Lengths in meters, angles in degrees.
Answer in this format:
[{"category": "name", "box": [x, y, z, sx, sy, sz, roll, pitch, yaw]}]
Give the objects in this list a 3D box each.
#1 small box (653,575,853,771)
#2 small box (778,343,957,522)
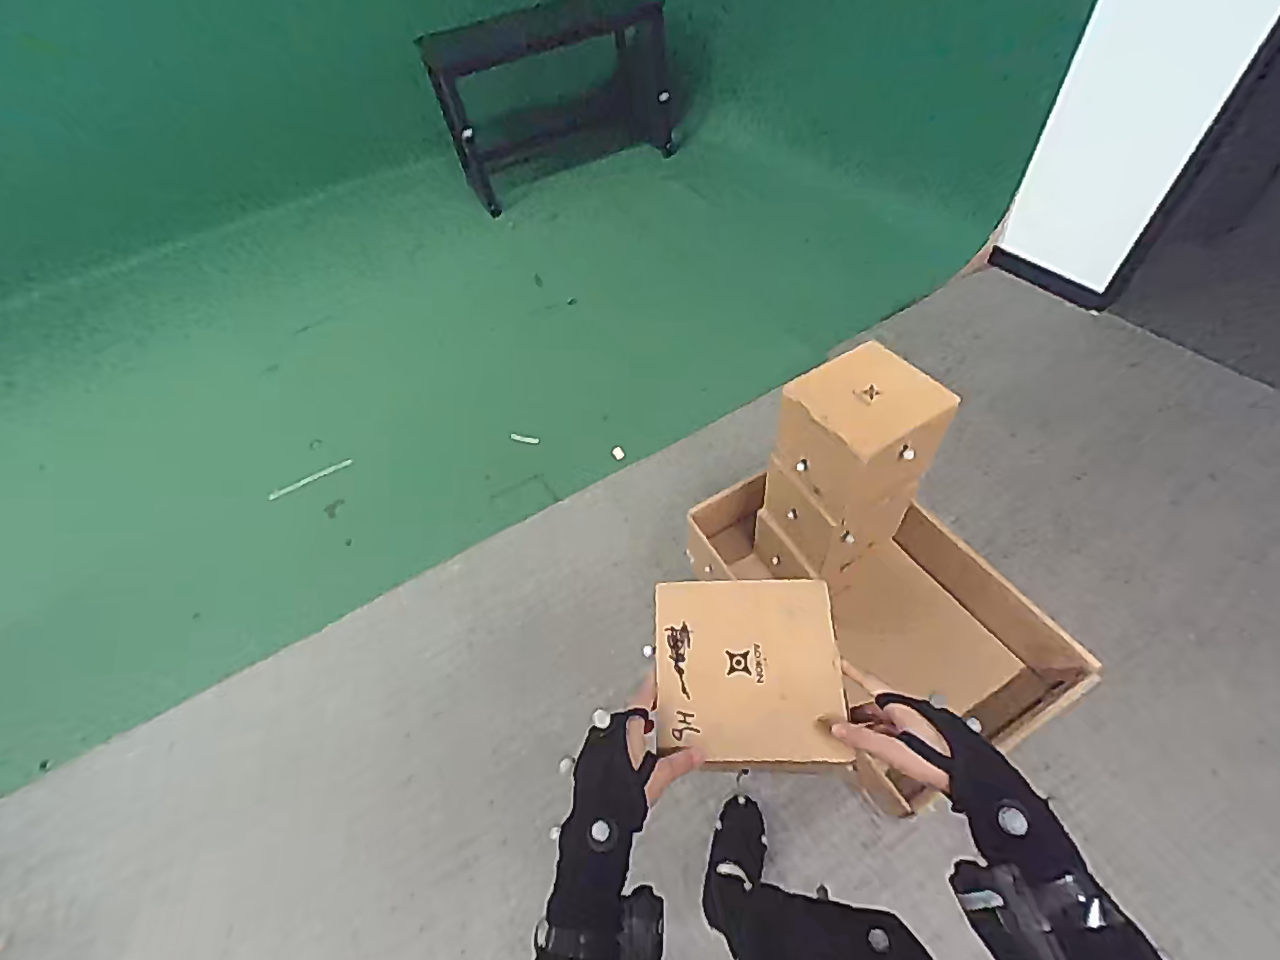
[{"category": "small box", "box": [0.105, 0.209, 0.577, 0.179, 0.176, 0.168, -1, 58, 4]}, {"category": "small box", "box": [0.329, -0.070, 0.822, 0.179, 0.176, 0.168, -29, 54, -12]}]
